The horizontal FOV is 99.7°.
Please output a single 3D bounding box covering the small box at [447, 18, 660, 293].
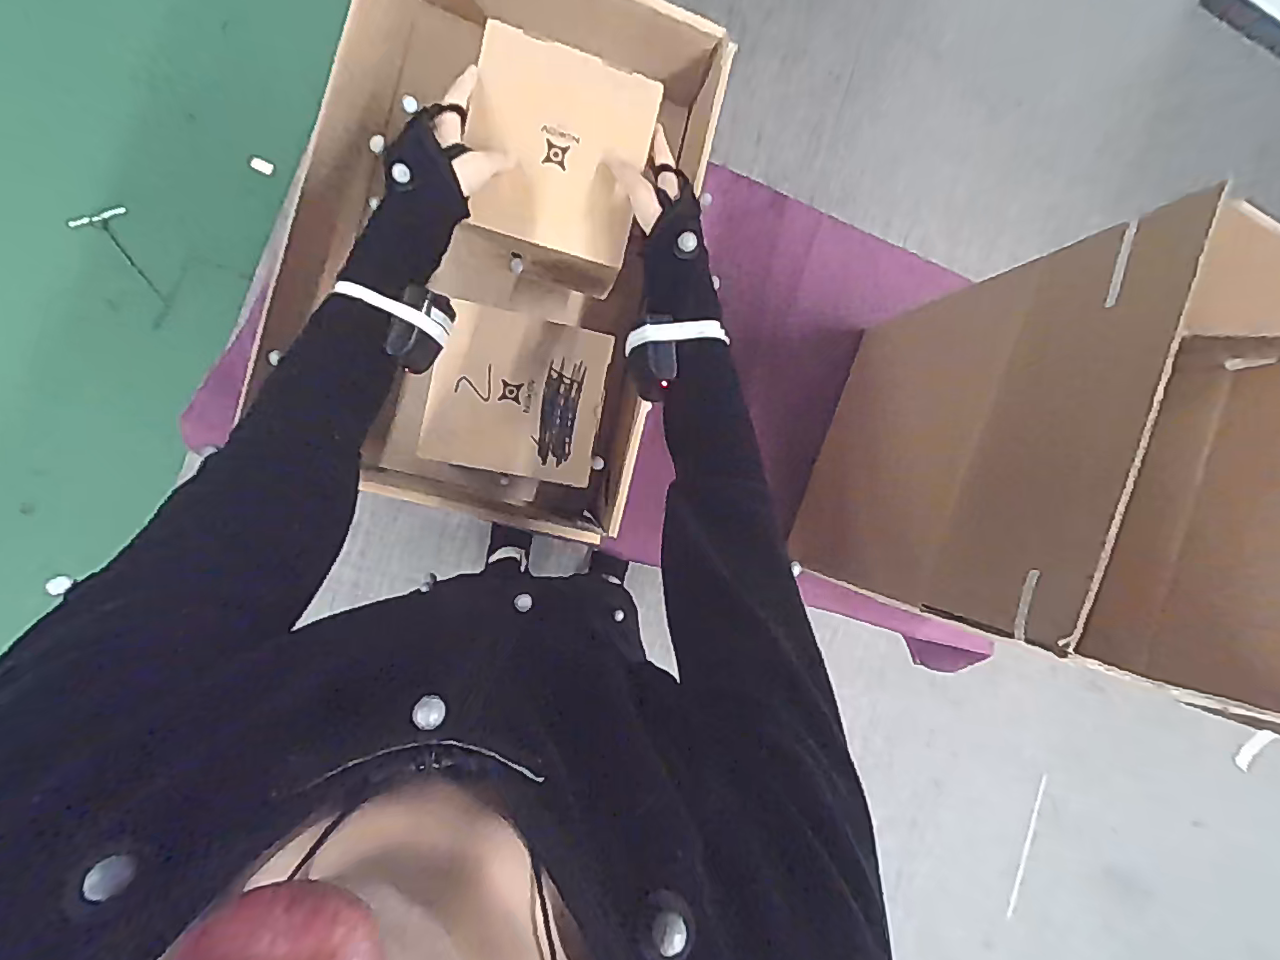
[{"bbox_3d":[-0.090,-0.318,0.577,0.168,0.176,0.179,13,95,-10],"label":"small box"}]
